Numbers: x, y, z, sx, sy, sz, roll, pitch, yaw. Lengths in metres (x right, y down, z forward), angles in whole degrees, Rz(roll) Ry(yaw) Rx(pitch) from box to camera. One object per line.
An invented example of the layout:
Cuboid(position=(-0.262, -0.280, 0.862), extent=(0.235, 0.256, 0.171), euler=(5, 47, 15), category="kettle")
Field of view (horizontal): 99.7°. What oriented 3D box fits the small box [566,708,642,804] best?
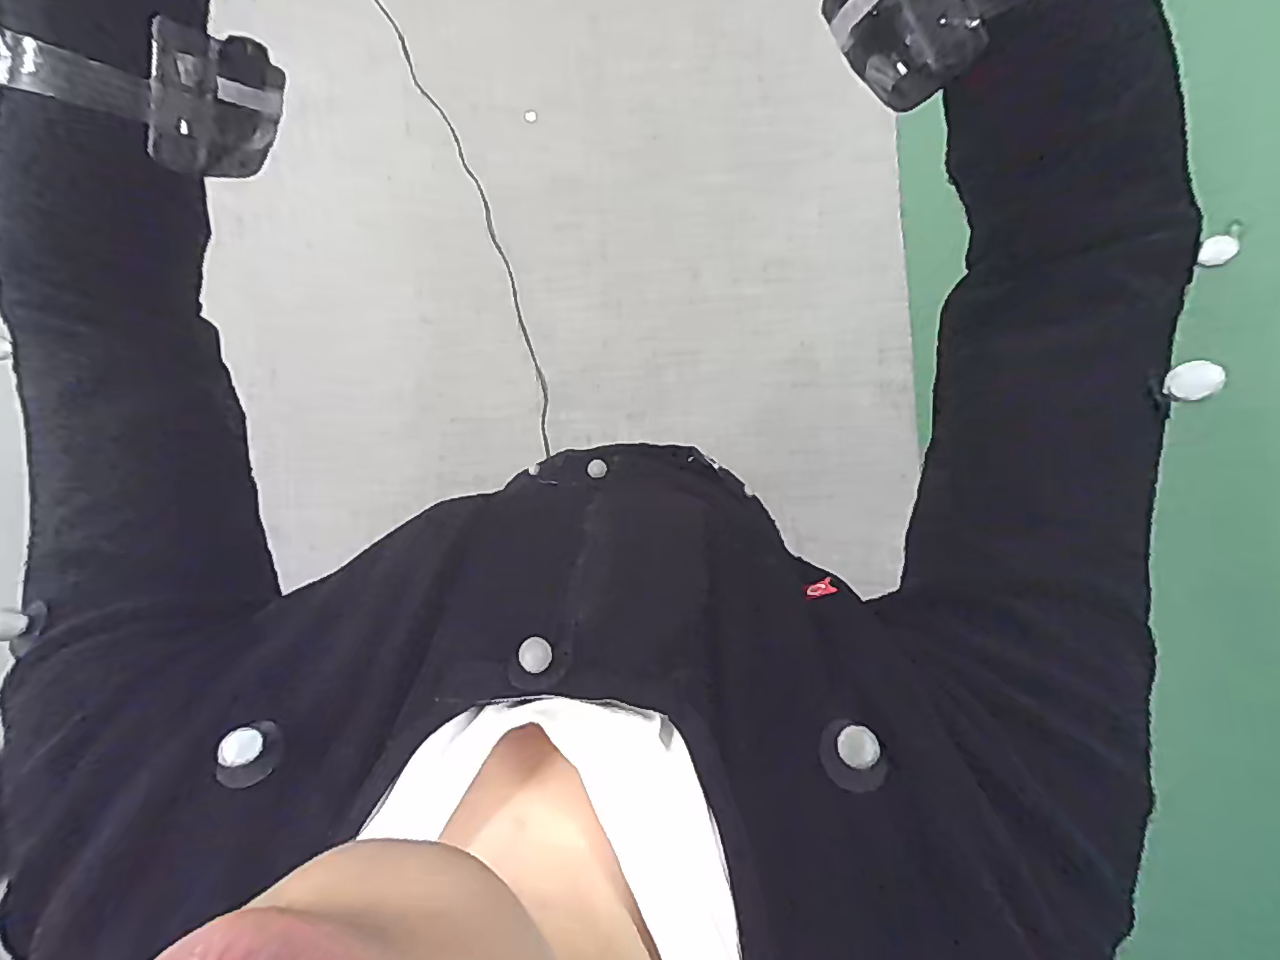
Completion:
Cuboid(position=(-0.088, 0.695, 1.375), extent=(0.179, 0.176, 0.168), euler=(-1, 89, 2), category="small box")
